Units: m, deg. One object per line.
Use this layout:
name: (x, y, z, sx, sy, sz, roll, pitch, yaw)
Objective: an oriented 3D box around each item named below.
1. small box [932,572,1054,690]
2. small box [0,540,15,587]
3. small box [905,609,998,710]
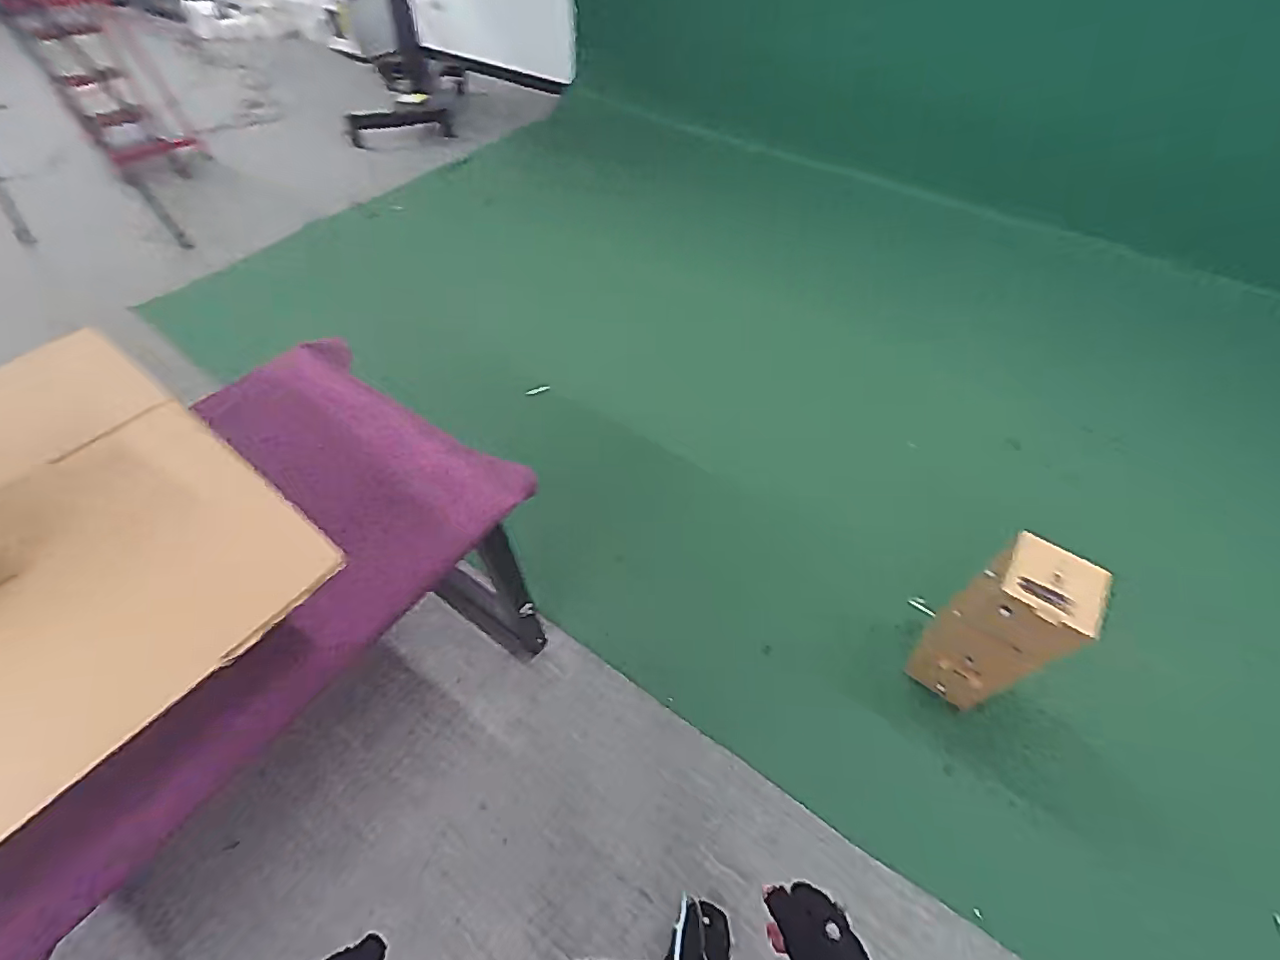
small box: (0.817, 0.356, 1.264, 0.168, 0.176, 0.179, 30, 59, 20)
small box: (-0.809, 0.068, 0.540, 0.179, 0.176, 0.168, 31, 59, 23)
small box: (0.816, 0.456, 1.393, 0.168, 0.176, 0.179, 31, 59, 22)
